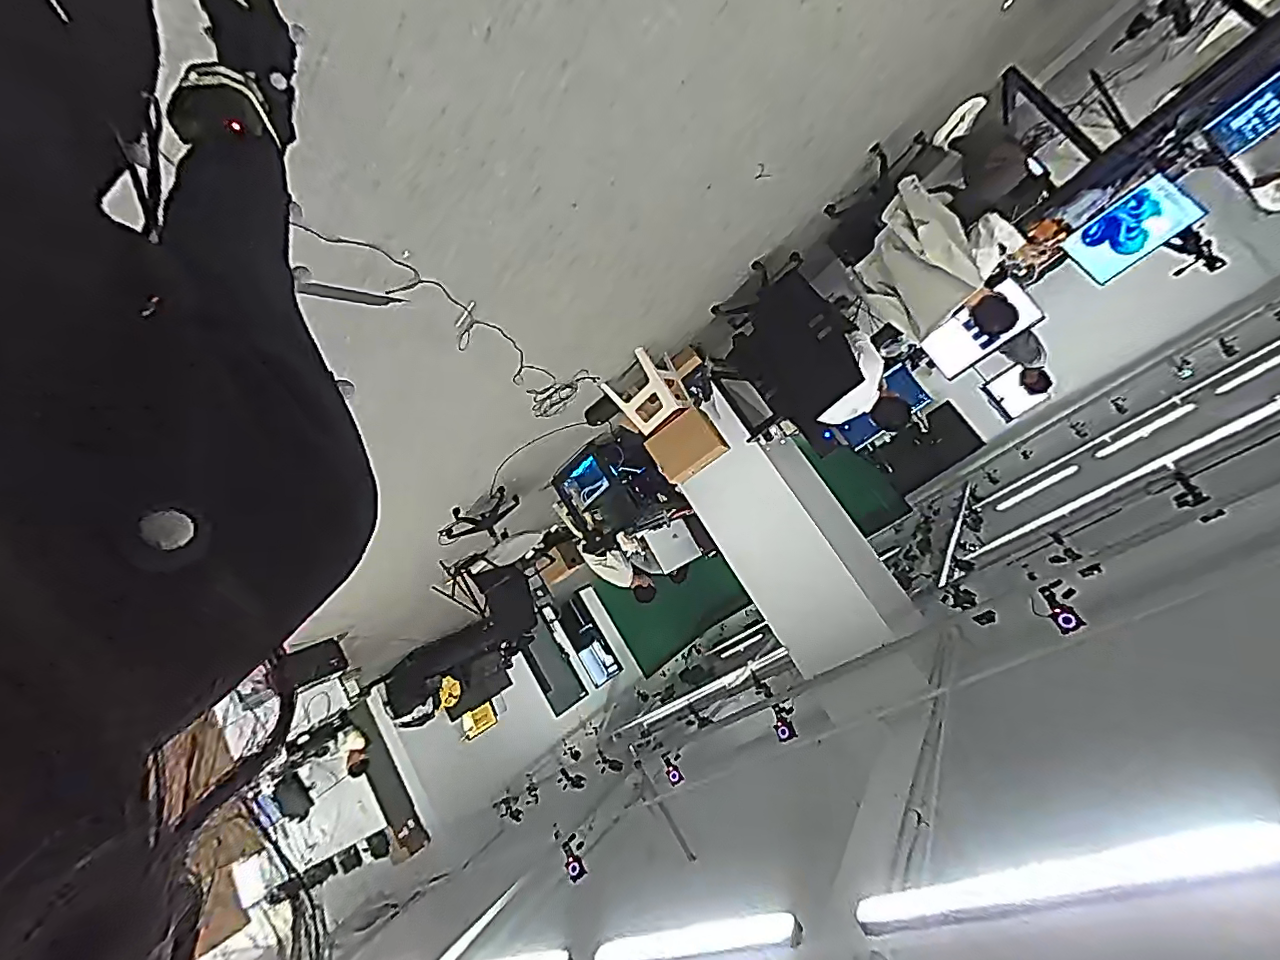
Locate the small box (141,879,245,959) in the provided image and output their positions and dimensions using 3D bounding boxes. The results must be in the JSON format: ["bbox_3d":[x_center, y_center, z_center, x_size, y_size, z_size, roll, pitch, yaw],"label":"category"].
[{"bbox_3d":[-1.260,1.279,1.520,0.168,0.176,0.179,-41,166,32],"label":"small box"}]
